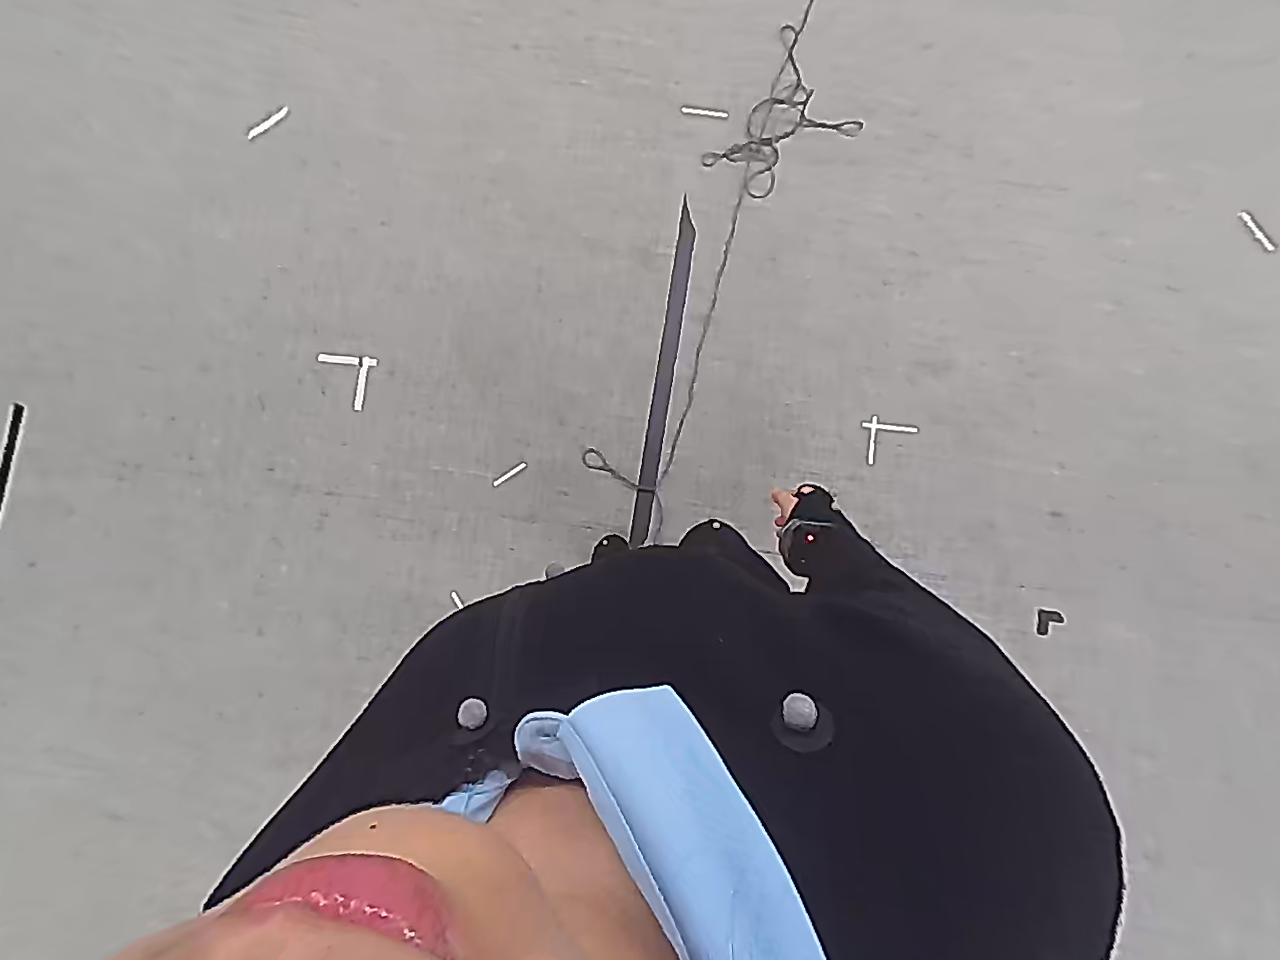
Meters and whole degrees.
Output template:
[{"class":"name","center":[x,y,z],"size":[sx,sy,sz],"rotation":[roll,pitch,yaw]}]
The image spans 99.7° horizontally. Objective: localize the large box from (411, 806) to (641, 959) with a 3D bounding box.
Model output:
[{"class":"large box","center":[-0.211,0.920,1.108],"size":[0.408,0.320,0.320],"rotation":[6,84,3]}]
